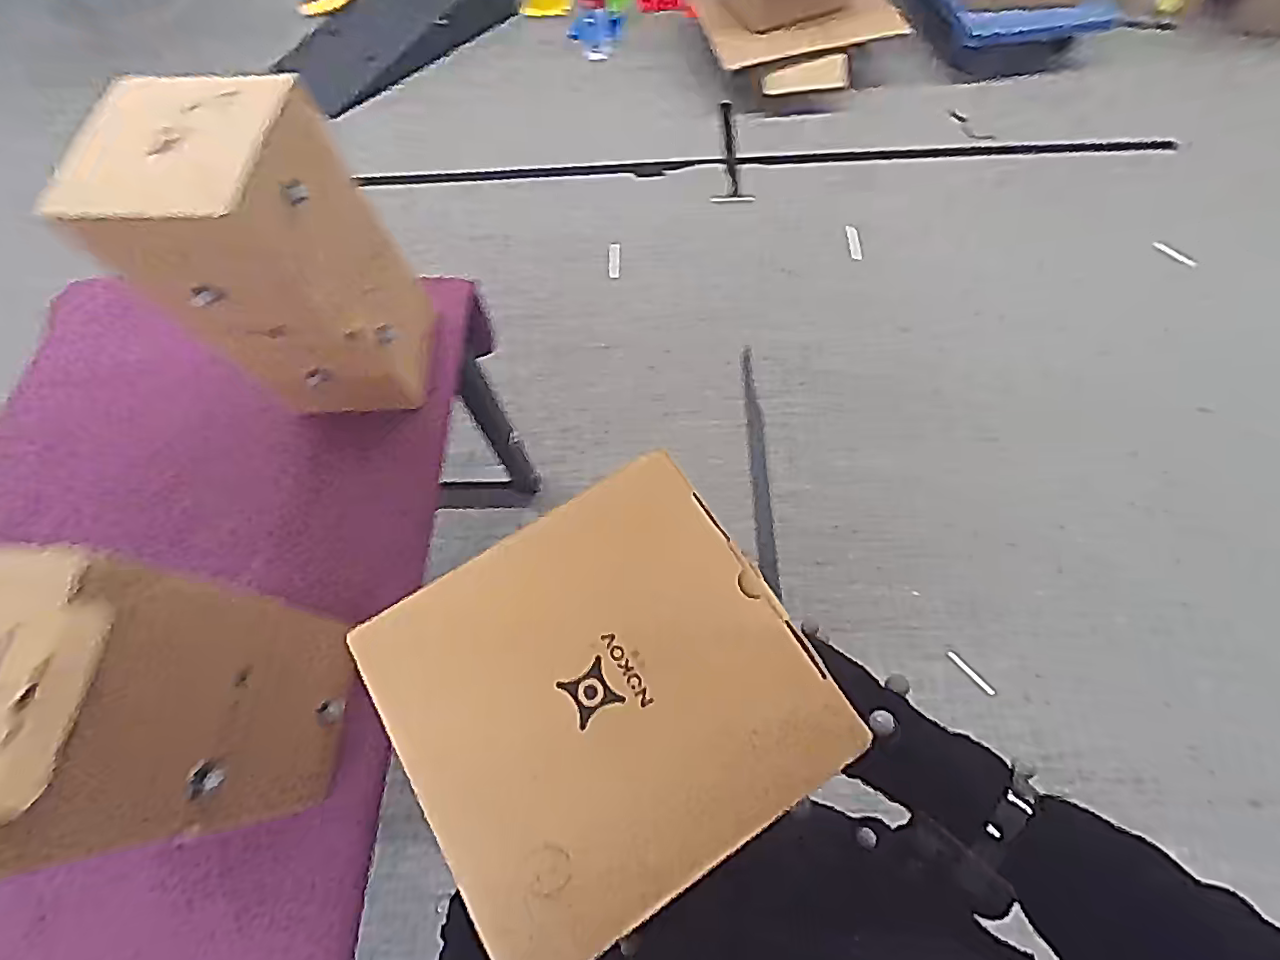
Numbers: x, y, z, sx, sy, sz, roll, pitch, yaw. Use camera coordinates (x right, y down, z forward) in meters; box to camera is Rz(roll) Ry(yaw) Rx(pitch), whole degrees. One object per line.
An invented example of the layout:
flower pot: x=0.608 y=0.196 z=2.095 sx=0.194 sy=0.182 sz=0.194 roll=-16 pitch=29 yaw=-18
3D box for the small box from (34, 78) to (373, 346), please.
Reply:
small box: x=-0.392 y=-0.248 z=0.528 sx=0.168 sy=0.176 sz=0.179 roll=2 pitch=67 yaw=3

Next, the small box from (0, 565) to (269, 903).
small box: x=-0.394 y=0.153 z=0.354 sx=0.179 sy=0.176 sz=0.168 roll=1 pitch=67 yaw=3

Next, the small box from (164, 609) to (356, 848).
small box: x=-0.396 y=0.222 z=0.504 sx=0.168 sy=0.176 sz=0.179 roll=1 pitch=66 yaw=2

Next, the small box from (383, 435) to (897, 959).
small box: x=-0.002 y=0.110 z=0.312 sx=0.179 sy=0.176 sz=0.168 roll=-31 pitch=74 yaw=-9
